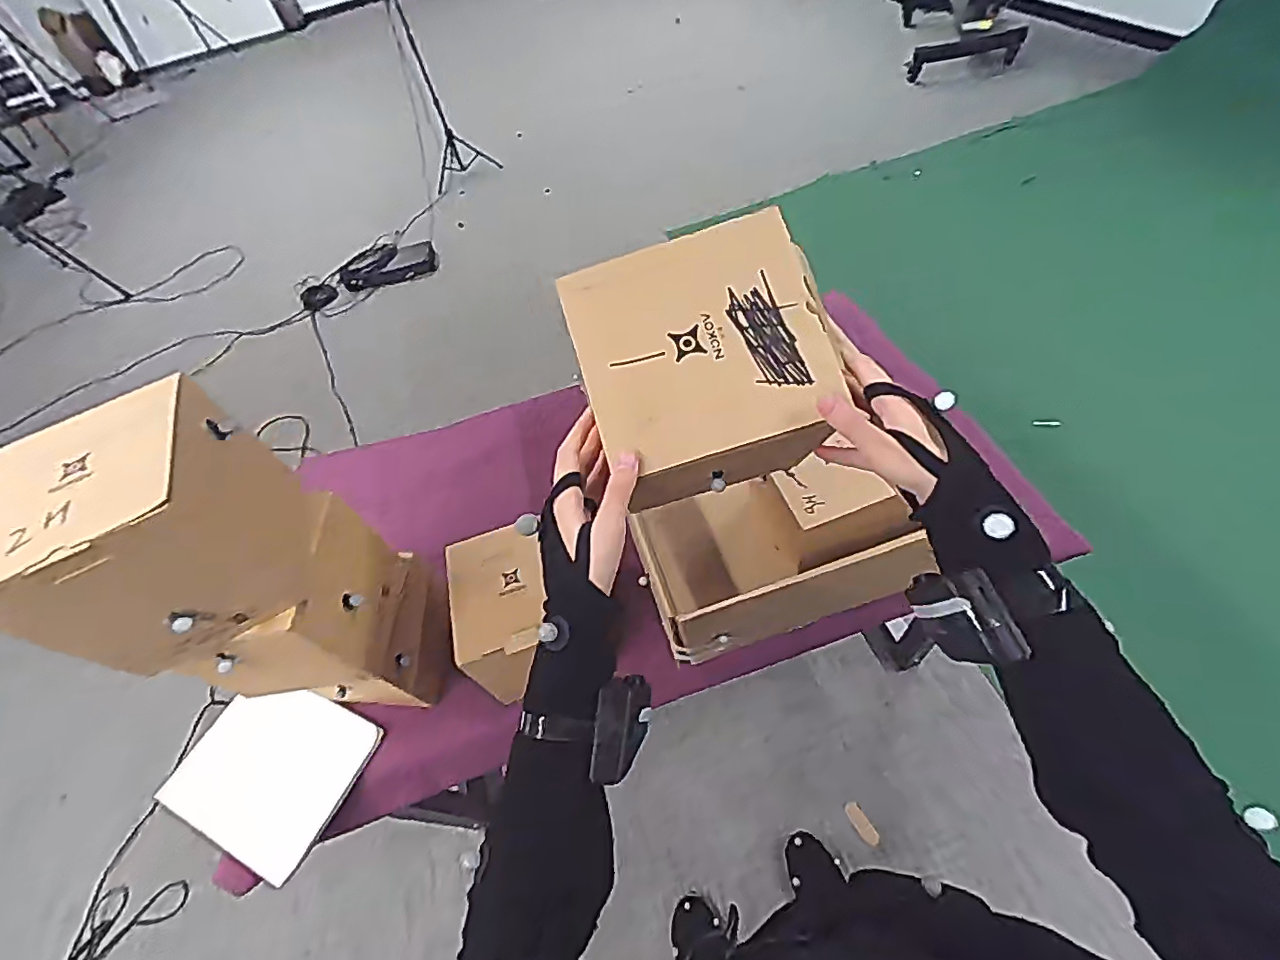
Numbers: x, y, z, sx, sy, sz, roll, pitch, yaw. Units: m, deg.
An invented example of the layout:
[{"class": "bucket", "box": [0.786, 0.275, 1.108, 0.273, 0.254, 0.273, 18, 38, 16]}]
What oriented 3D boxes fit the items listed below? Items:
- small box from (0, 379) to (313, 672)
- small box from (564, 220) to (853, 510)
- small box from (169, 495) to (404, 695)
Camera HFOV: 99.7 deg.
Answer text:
[{"class": "small box", "box": [-0.438, 0.045, 0.502, 0.168, 0.176, 0.179, -27, 54, -8]}, {"class": "small box", "box": [0.050, -0.081, 0.468, 0.179, 0.176, 0.168, -17, 78, 1]}, {"class": "small box", "box": [-0.406, 0.140, 0.632, 0.179, 0.176, 0.168, -9, 53, 5]}]
